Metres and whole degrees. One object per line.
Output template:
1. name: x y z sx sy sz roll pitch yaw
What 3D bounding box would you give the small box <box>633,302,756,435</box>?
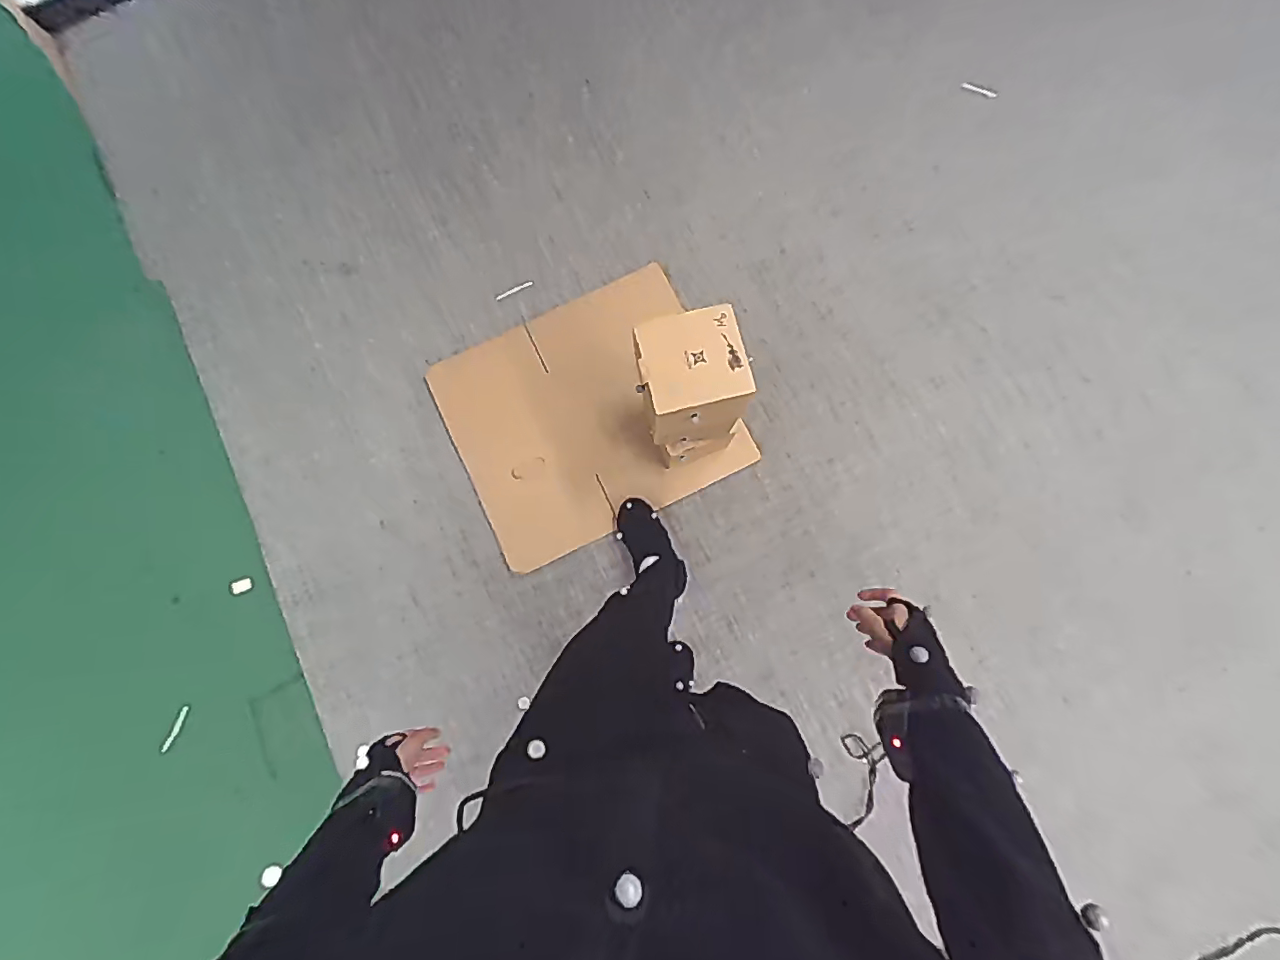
1. small box: 0.094 -0.191 0.977 0.179 0.176 0.168 -13 81 0

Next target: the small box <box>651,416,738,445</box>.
1. small box: 0.104 -0.181 1.140 0.168 0.176 0.179 -5 81 1
